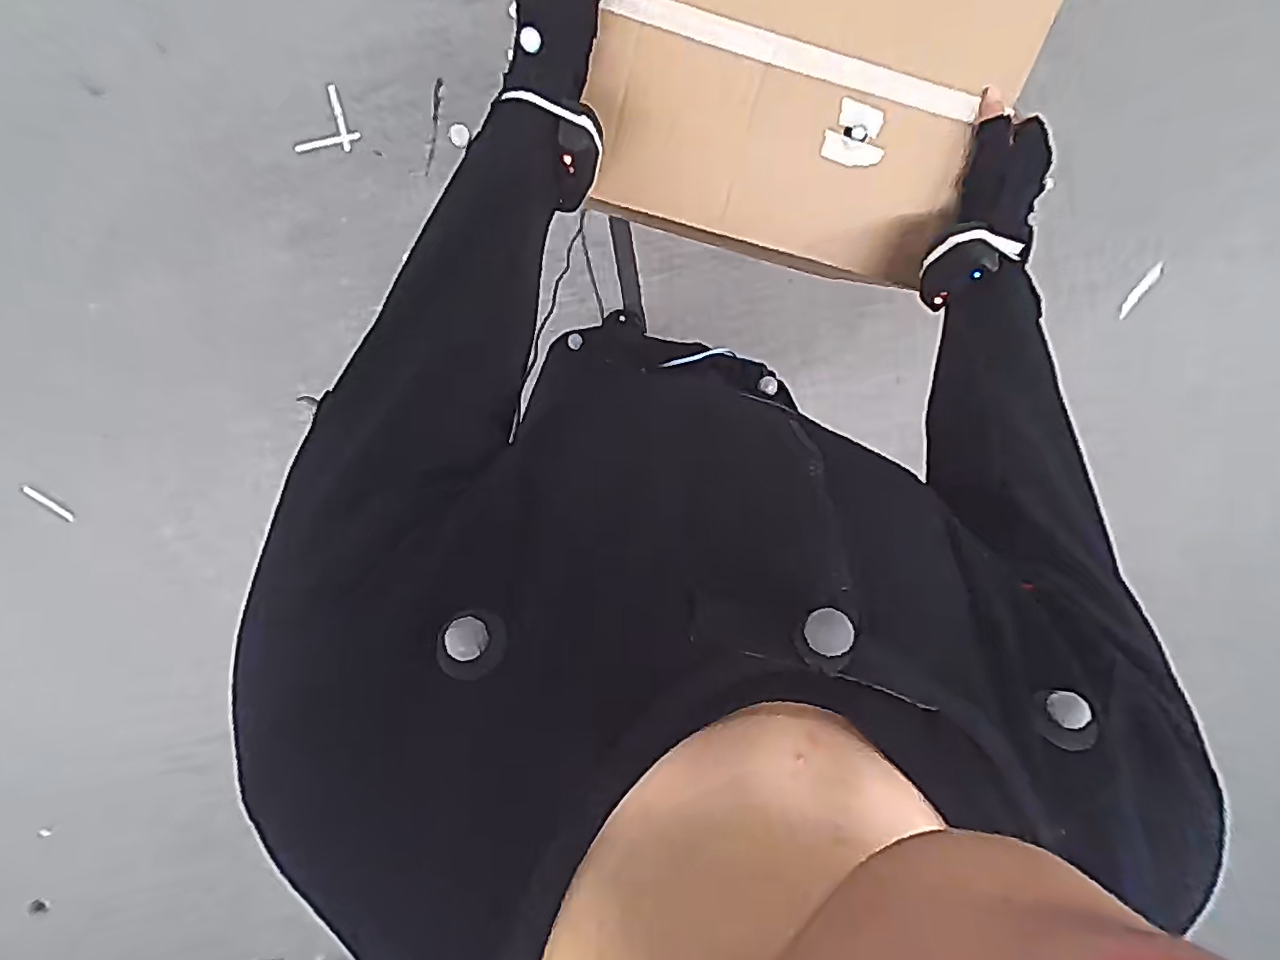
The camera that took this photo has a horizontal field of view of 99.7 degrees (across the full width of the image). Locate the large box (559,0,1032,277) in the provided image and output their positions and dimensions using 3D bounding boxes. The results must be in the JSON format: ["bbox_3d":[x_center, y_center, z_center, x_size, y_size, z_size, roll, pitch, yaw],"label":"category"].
[{"bbox_3d":[0.137,-0.452,0.642,0.408,0.320,0.320,12,114,-6],"label":"large box"}]
